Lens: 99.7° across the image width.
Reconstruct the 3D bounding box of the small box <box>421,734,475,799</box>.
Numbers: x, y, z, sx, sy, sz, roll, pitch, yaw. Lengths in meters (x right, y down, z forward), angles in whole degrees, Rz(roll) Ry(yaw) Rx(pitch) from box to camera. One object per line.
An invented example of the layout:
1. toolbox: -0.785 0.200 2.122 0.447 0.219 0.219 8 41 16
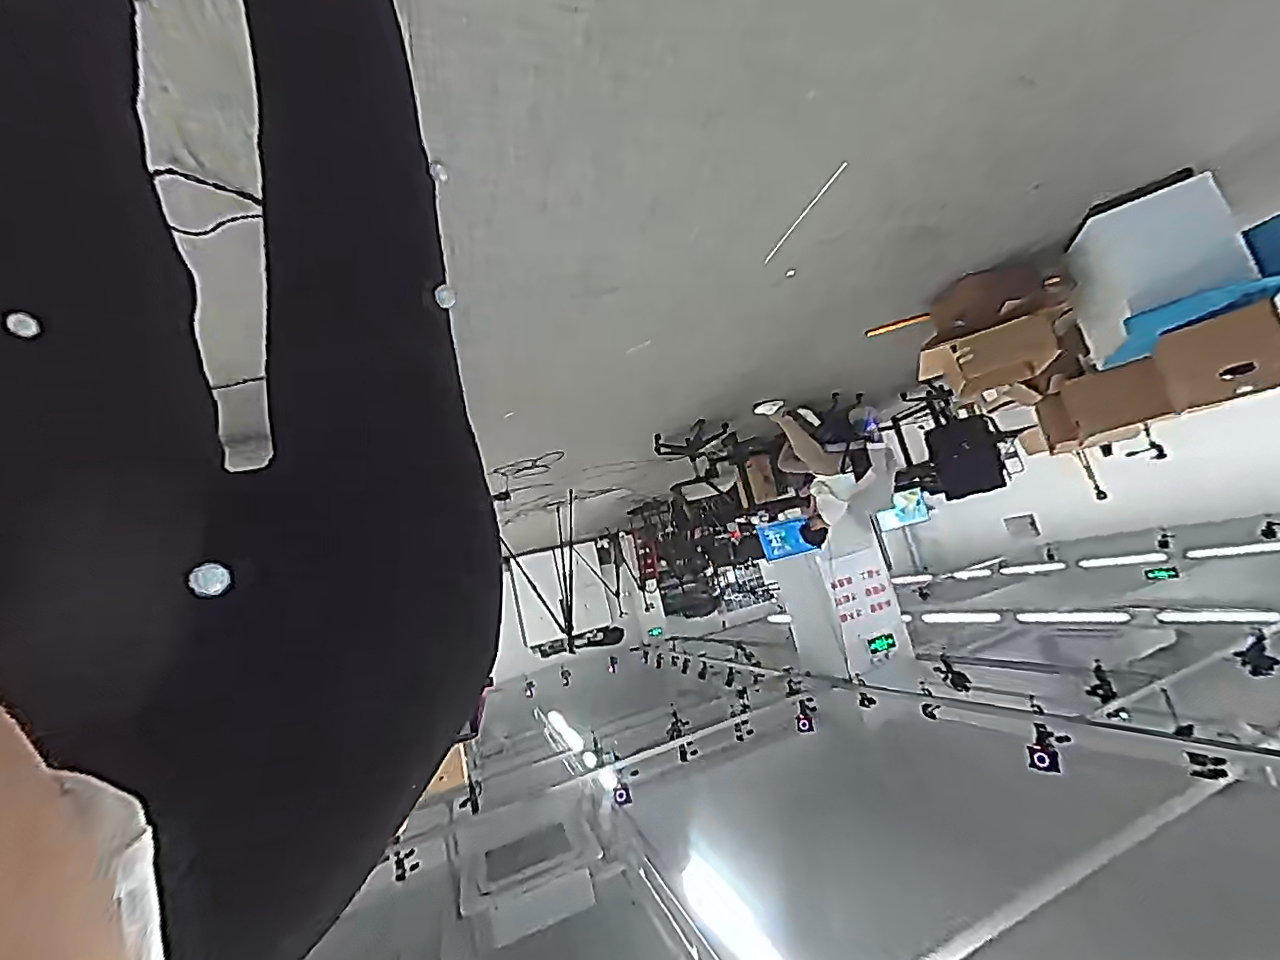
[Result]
1. small box: -0.766 1.133 2.163 0.179 0.176 0.168 -11 170 -19
